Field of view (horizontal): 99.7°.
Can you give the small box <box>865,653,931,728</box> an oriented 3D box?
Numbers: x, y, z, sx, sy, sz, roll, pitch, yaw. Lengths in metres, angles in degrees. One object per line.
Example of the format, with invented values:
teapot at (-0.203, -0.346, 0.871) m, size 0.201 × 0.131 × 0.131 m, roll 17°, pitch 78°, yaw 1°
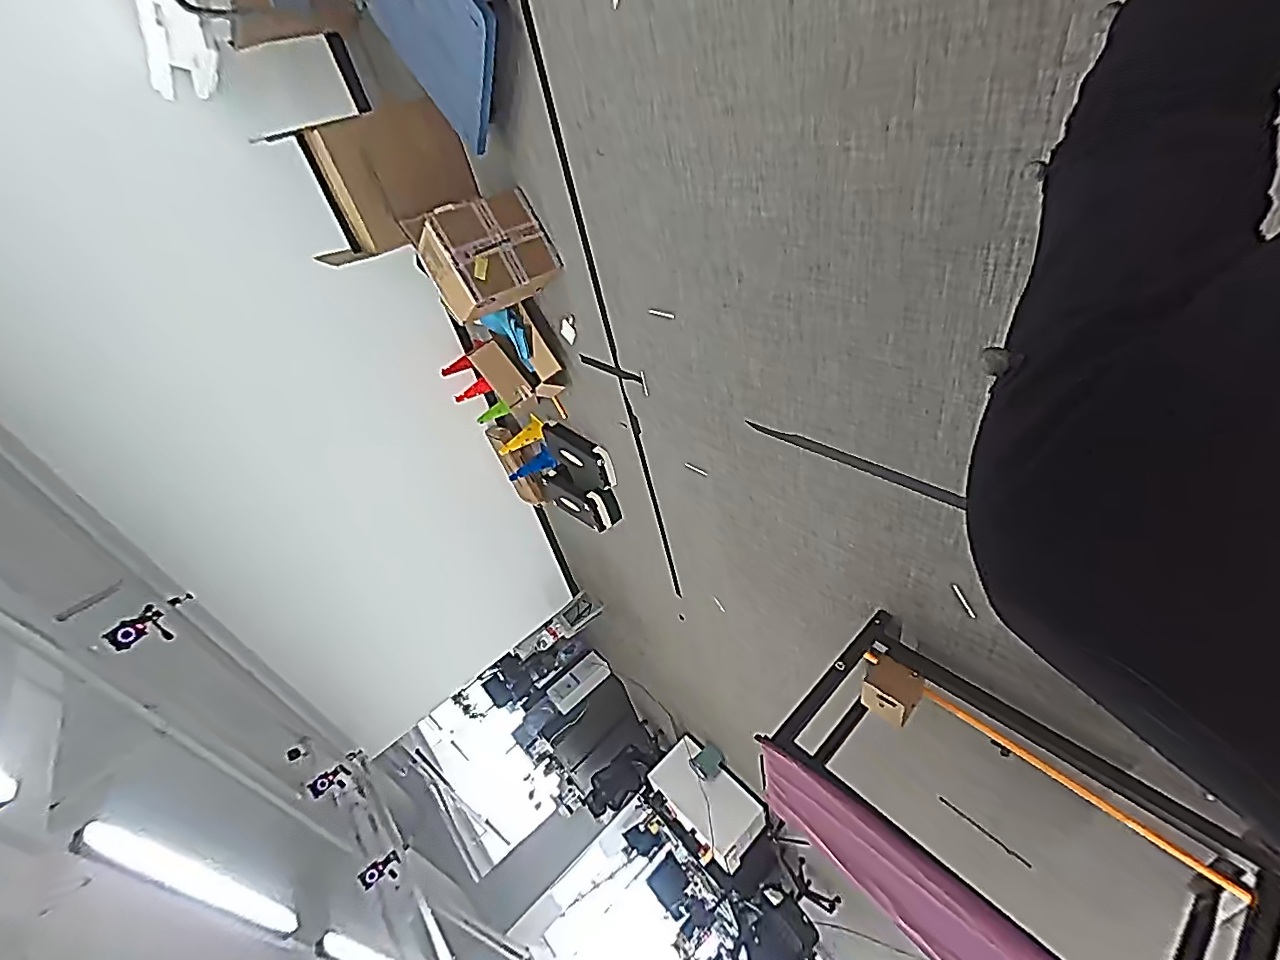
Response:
small box at (0.986, 0.797, 2.064) m, size 0.168 × 0.176 × 0.179 m, roll 28°, pitch 146°, yaw 41°
